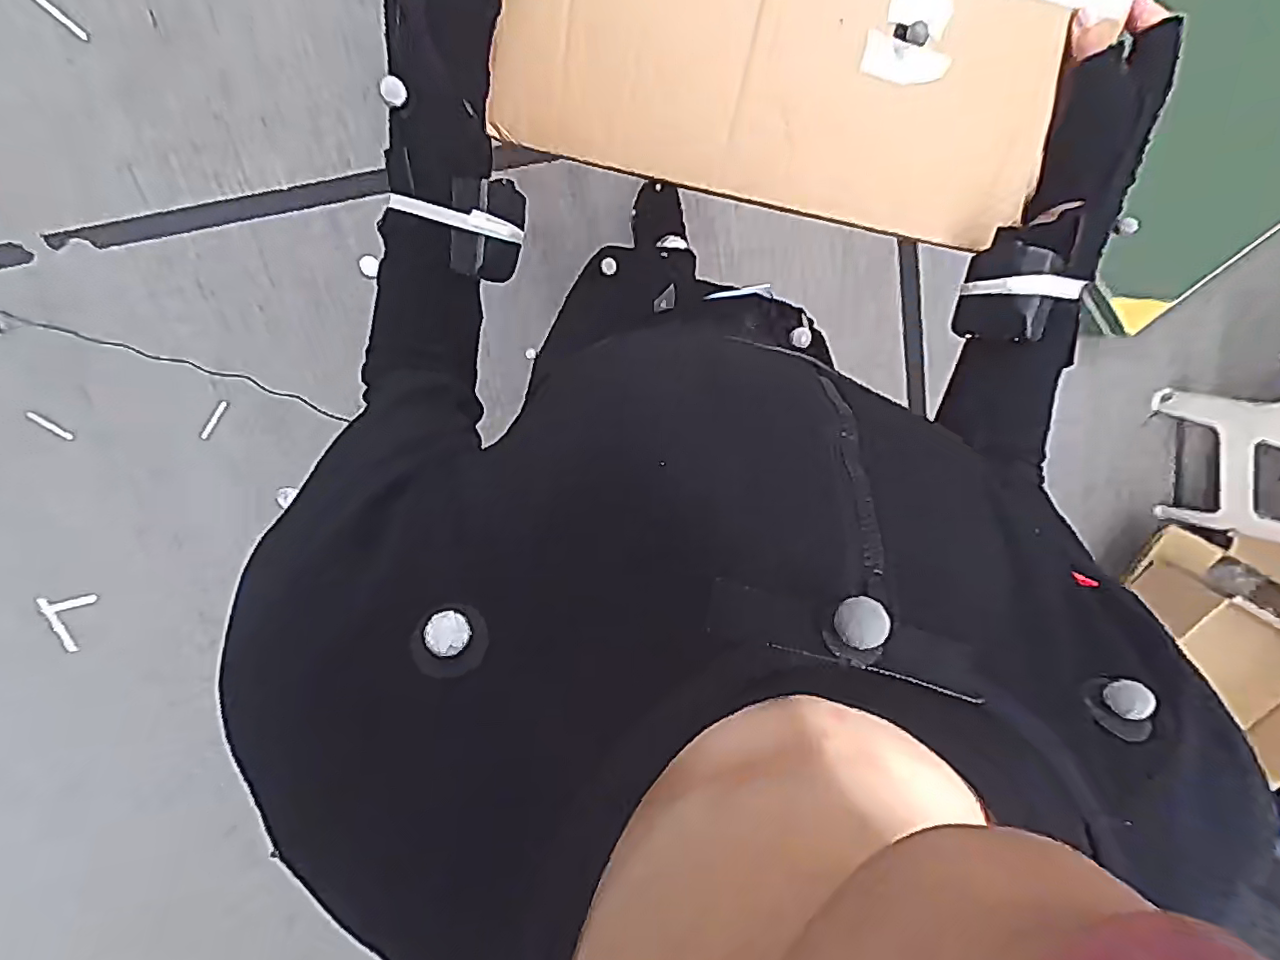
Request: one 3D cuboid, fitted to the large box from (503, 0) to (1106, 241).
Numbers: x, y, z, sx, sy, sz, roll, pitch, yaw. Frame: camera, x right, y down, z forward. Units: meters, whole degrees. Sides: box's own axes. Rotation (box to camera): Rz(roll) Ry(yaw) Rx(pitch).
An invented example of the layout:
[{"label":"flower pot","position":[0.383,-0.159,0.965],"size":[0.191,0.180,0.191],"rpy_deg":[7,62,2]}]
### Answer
[{"label":"large box","position":[0.113,-0.426,0.472],"size":[0.408,0.320,0.320],"rpy_deg":[9,120,-8]}]
